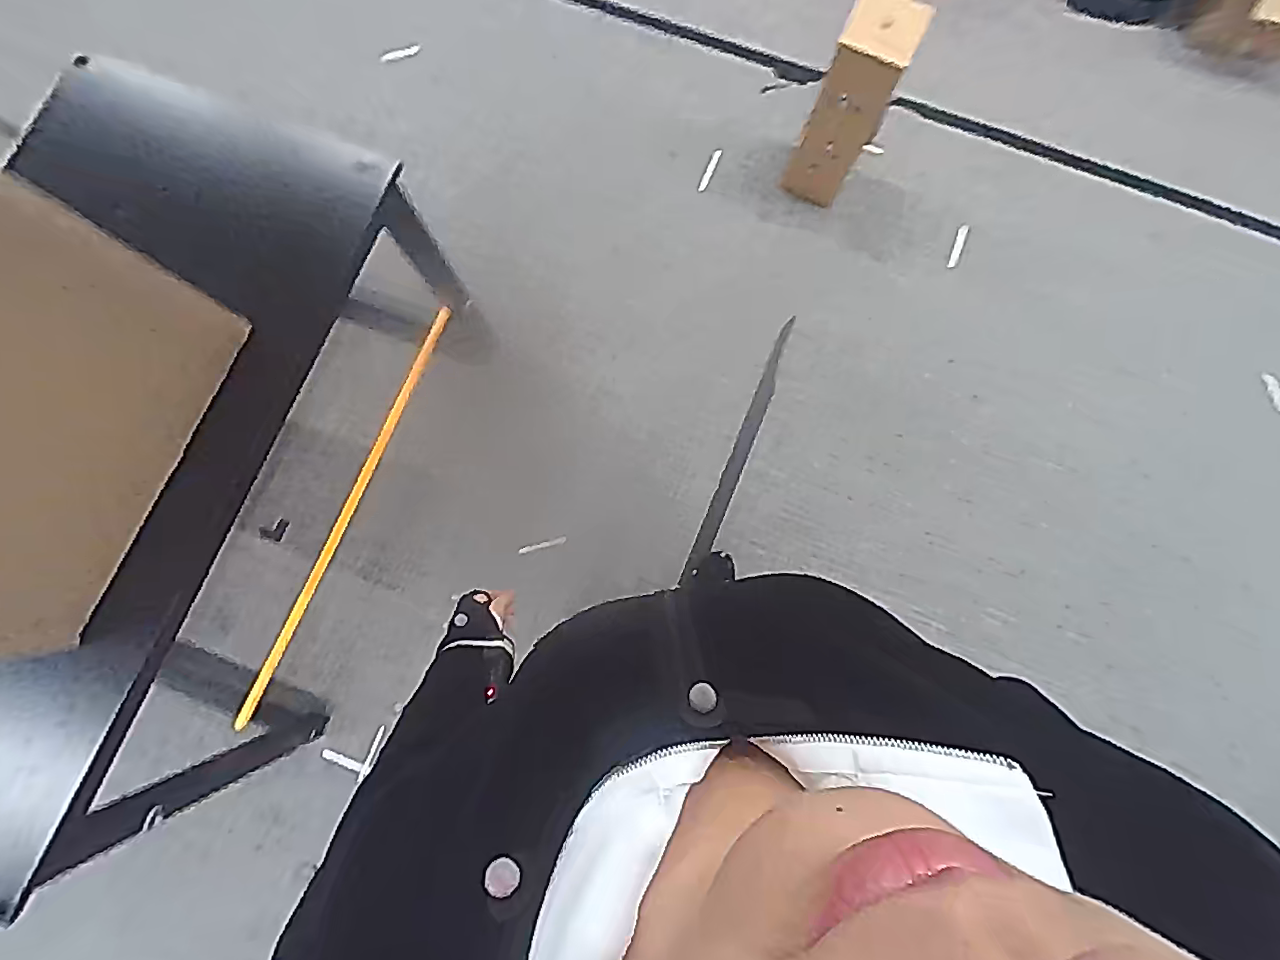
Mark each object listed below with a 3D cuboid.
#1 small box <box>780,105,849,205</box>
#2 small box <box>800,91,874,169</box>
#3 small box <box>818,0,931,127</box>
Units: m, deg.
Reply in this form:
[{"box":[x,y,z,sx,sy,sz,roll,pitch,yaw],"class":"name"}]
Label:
[{"box":[0.542,-0.963,1.617,0.179,0.176,0.168,25,82,3],"class":"small box"},{"box":[0.552,-0.990,1.455,0.168,0.176,0.179,25,82,4],"class":"small box"},{"box":[0.548,-1.003,1.292,0.168,0.176,0.179,25,83,4],"class":"small box"}]
